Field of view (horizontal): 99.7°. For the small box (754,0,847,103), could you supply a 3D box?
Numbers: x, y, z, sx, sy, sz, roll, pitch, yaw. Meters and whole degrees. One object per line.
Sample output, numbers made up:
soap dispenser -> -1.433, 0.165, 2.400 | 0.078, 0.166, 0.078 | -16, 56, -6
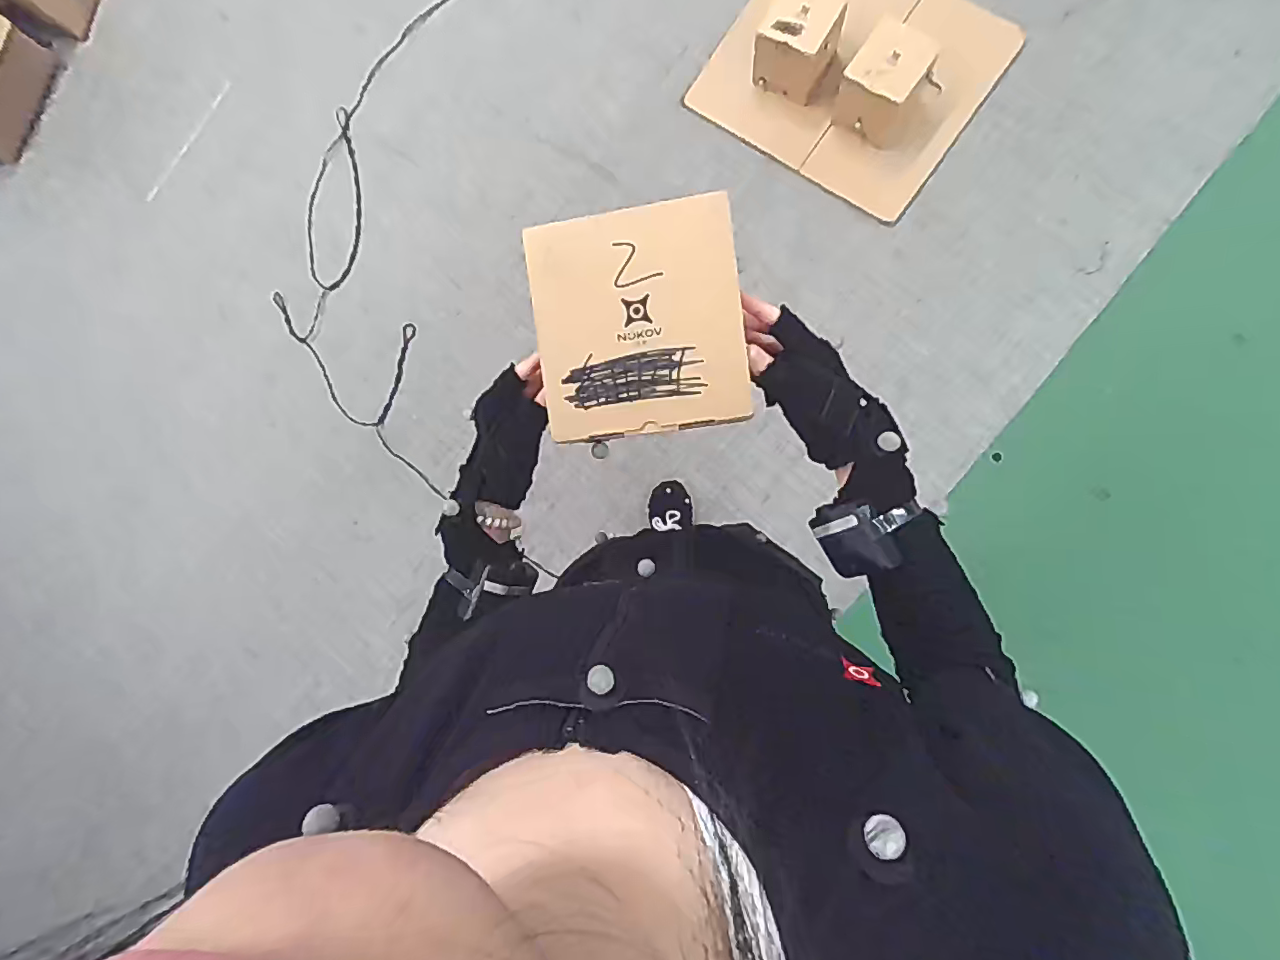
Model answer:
small box -> 0.410, -1.142, 1.412 | 0.168, 0.176, 0.179 | 31, 91, 9

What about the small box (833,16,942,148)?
small box -> 0.618, -1.003, 1.377 | 0.168, 0.176, 0.179 | 36, 93, 10
